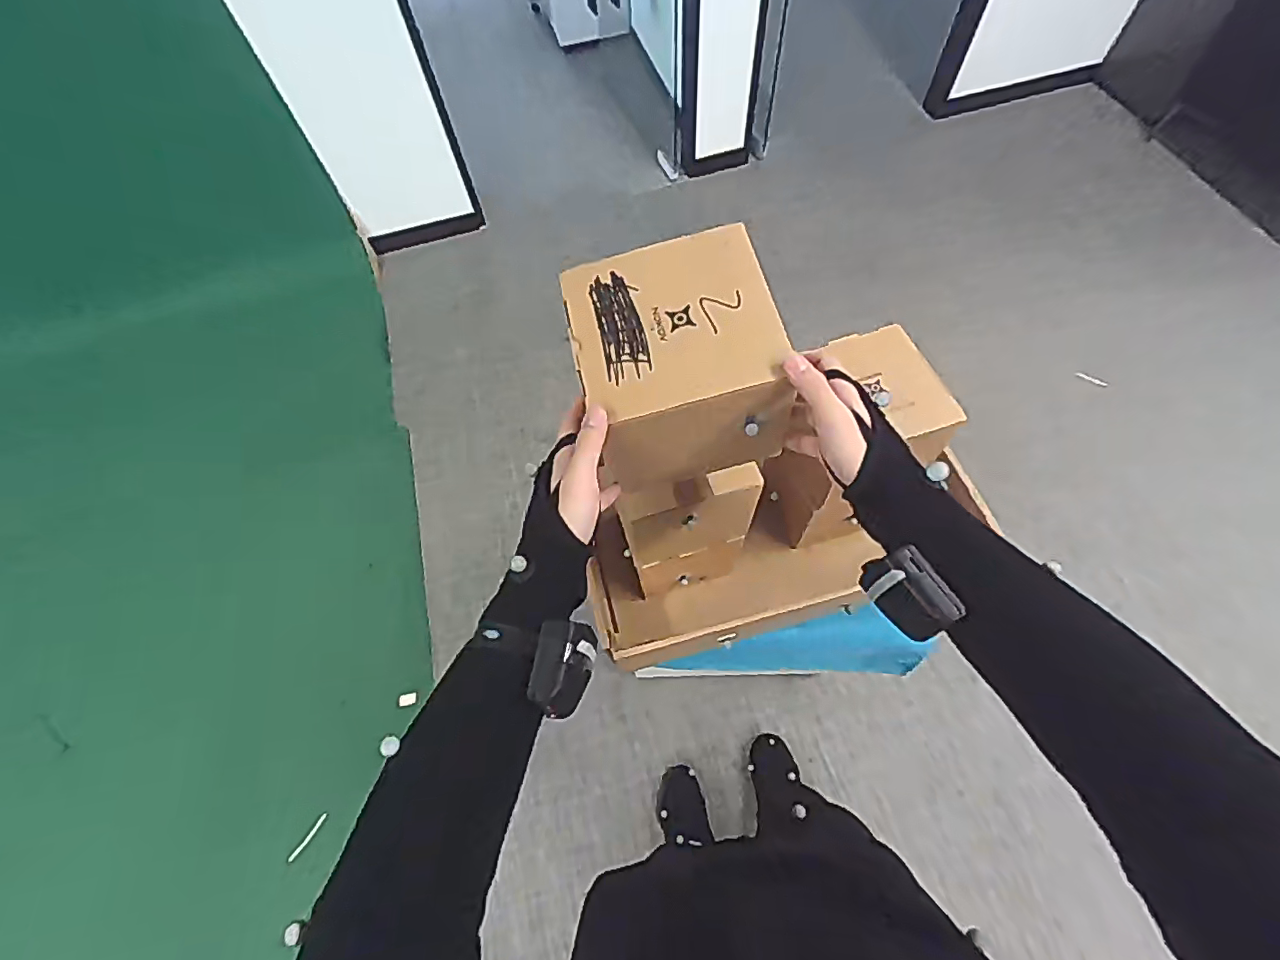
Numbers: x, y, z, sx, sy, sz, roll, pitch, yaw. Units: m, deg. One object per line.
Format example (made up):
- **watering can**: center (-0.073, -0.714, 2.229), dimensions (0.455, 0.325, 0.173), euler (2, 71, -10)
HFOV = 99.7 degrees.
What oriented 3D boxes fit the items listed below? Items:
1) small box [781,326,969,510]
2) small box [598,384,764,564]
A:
- **small box**: center (0.316, -0.083, 0.777), dimensions (0.168, 0.176, 0.179), euler (-17, 62, -2)
- **small box**: center (0.053, -0.001, 0.753), dimensions (0.179, 0.176, 0.168), euler (-16, 62, -5)
